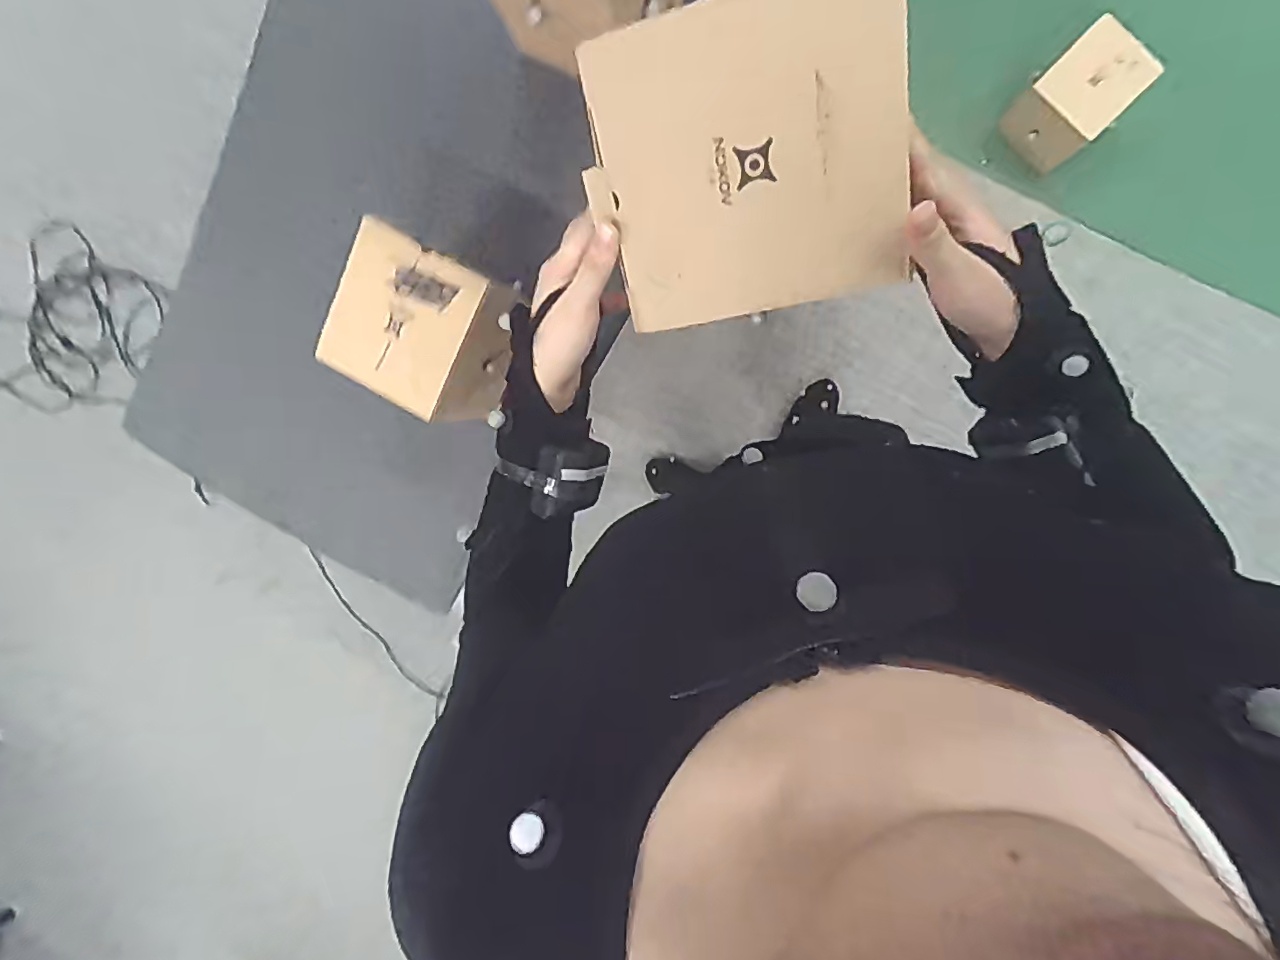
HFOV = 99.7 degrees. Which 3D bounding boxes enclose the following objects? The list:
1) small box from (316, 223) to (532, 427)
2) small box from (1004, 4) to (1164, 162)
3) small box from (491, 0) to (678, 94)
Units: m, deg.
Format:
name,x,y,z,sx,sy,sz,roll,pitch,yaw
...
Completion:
name,x,y,z,sx,sy,sz,roll,pitch,yaw
small box,-0.258,-0.185,0.687,0.168,0.176,0.179,29,103,4
small box,0.919,-0.823,1.147,0.168,0.176,0.179,44,102,-1
small box,-0.058,-0.572,0.594,0.179,0.176,0.168,28,102,5
